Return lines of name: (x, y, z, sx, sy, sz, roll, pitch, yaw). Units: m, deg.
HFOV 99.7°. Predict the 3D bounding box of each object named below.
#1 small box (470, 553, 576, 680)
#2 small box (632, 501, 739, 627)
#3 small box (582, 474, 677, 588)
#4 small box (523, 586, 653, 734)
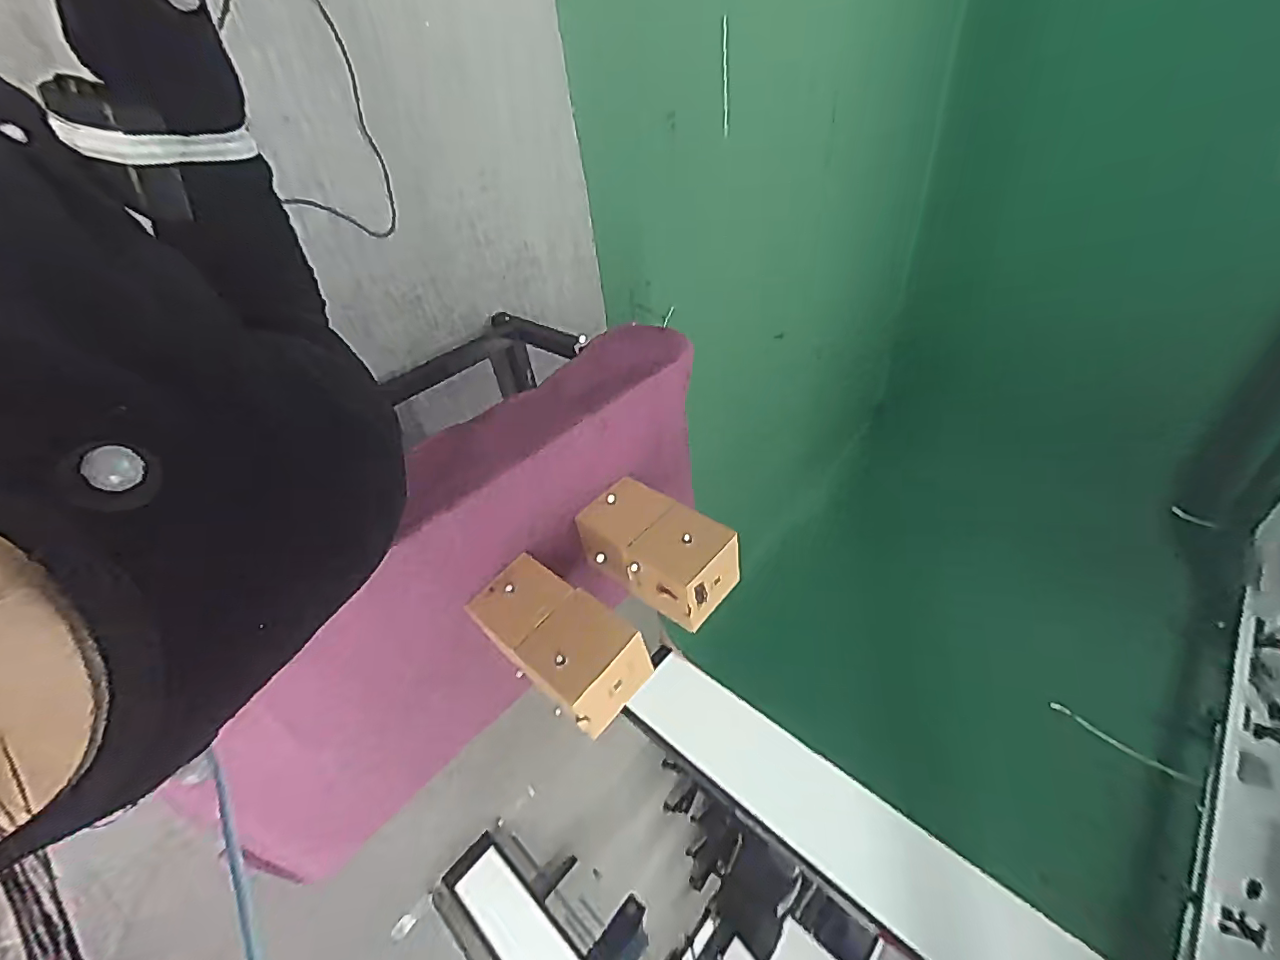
small box: (-0.224, 0.285, 1.144, 0.168, 0.176, 0.179, -44, 140, -25)
small box: (0.097, 0.179, 1.189, 0.179, 0.176, 0.168, -41, 139, -29)
small box: (-0.021, 0.116, 1.285, 0.179, 0.176, 0.168, -40, 139, -28)
small box: (-0.104, 0.343, 1.048, 0.179, 0.176, 0.168, -43, 141, -26)
